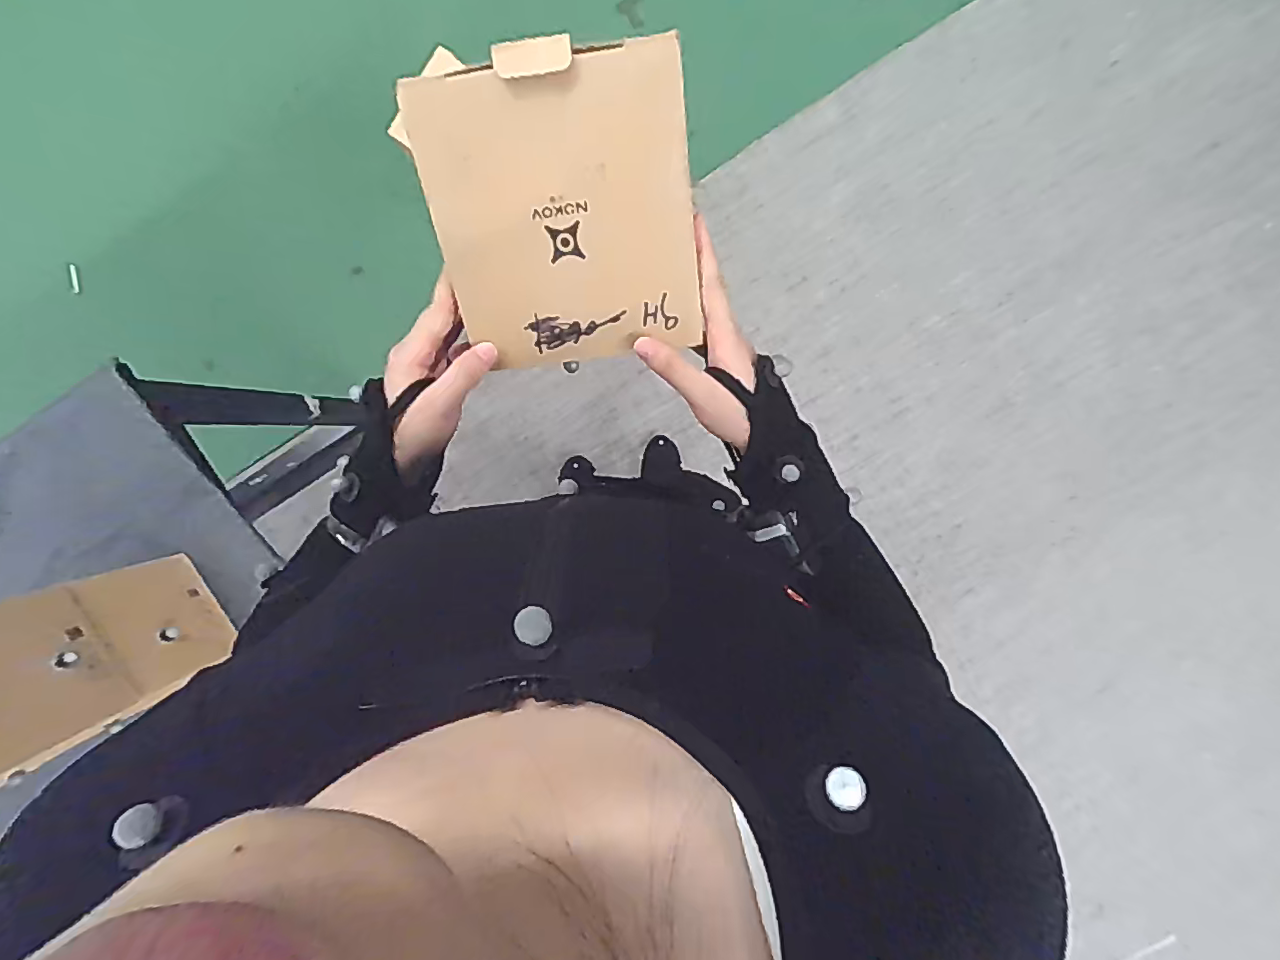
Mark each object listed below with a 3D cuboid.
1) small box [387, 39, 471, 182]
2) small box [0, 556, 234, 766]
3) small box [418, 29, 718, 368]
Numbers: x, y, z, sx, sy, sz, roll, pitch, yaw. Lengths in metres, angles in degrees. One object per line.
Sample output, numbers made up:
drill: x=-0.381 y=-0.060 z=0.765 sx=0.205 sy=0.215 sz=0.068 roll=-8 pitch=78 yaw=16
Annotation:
small box: x=-0.327 y=-0.650 z=1.017 sx=0.168 sy=0.176 sz=0.179 roll=36 pitch=96 yaw=-3
small box: x=-0.688 y=0.222 z=0.711 sx=0.179 sy=0.176 sz=0.168 roll=-31 pitch=94 yaw=6
small box: x=-0.035 y=-0.202 z=0.408 sx=0.168 sy=0.176 sz=0.179 roll=-6 pitch=121 yaw=5
